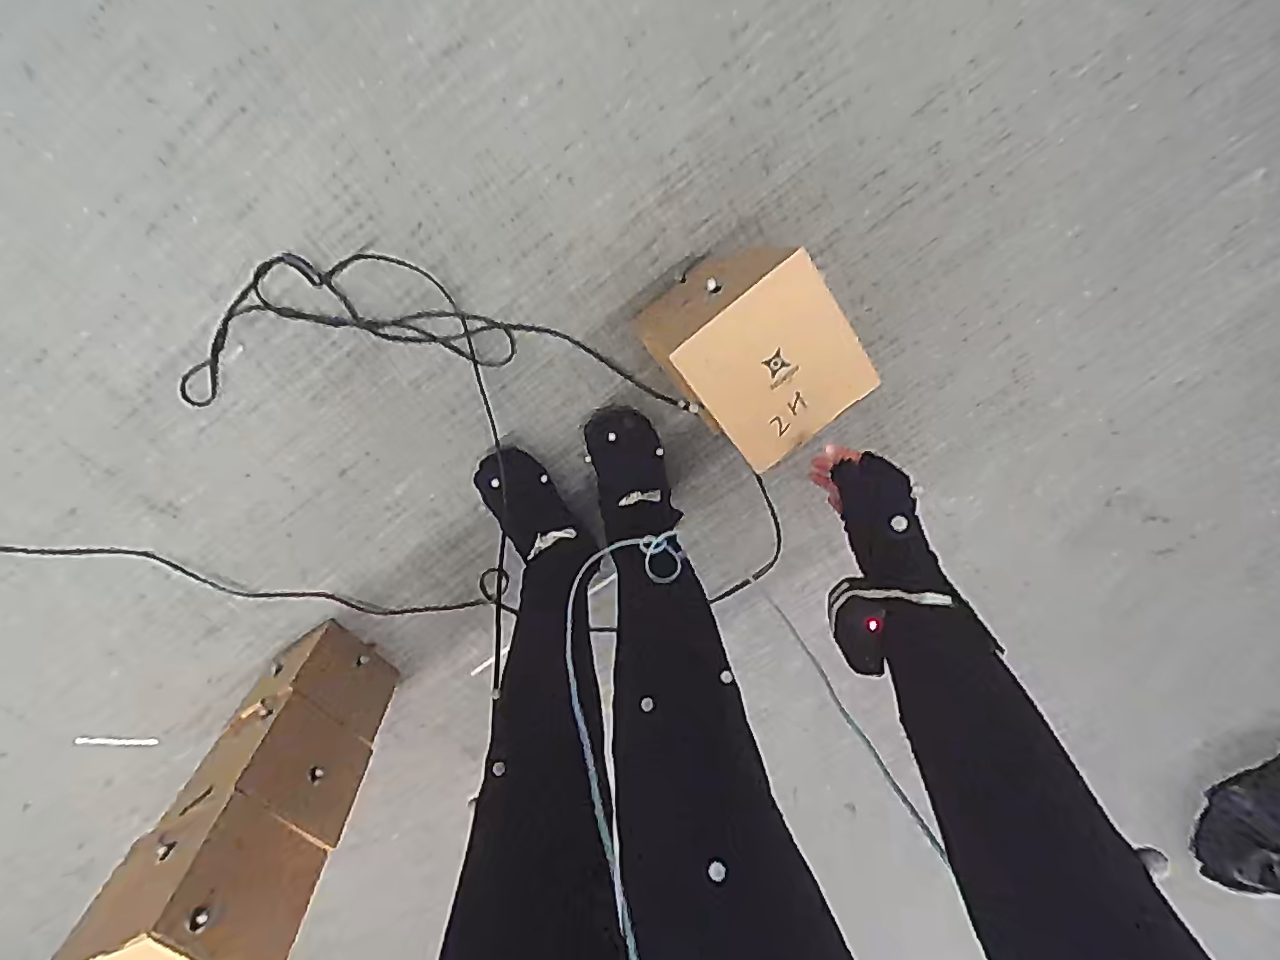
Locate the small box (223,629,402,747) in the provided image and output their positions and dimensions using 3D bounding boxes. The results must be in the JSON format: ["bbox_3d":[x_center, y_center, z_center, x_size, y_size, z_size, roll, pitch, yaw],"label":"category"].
[{"bbox_3d":[-0.569,0.394,0.965,0.168,0.176,0.179,-35,112,12],"label":"small box"}]

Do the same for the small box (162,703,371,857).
[{"bbox_3d":[-0.551,0.469,0.817,0.168,0.176,0.179,-33,115,8],"label":"small box"}]

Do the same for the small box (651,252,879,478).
[{"bbox_3d":[0.131,-0.139,0.628,0.168,0.176,0.179,-37,113,10],"label":"small box"}]

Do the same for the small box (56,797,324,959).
[{"bbox_3d":[-0.541,0.539,0.671,0.168,0.176,0.179,-28,114,6],"label":"small box"}]

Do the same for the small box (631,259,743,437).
[{"bbox_3d":[0.105,-0.197,0.779,0.168,0.176,0.179,-37,113,9],"label":"small box"}]
